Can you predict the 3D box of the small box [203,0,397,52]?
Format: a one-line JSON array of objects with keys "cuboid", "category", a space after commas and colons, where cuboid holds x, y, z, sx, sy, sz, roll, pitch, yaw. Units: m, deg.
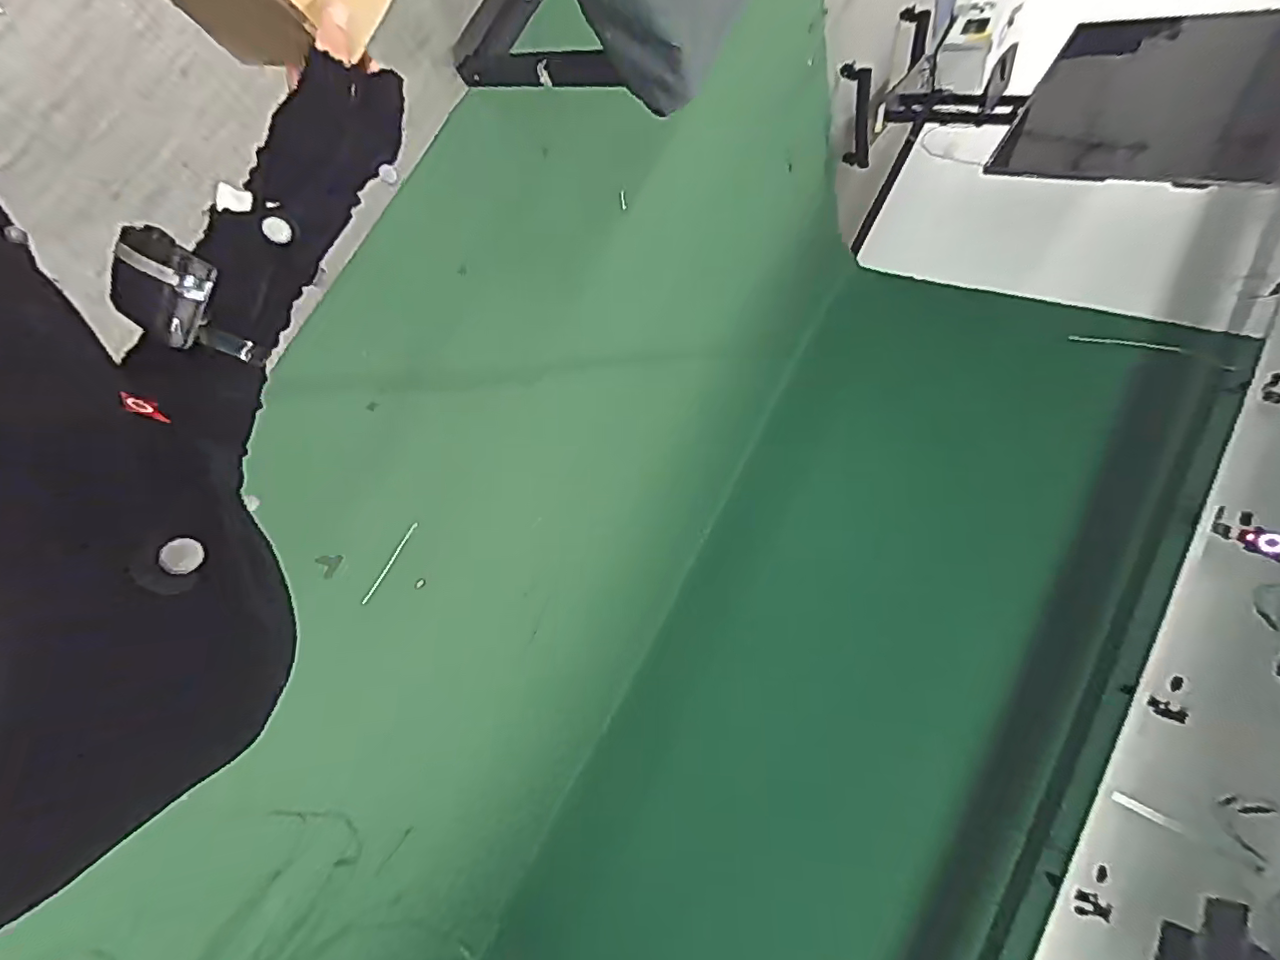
[{"cuboid": [-0.240, -0.406, 0.328, 0.179, 0.176, 0.168, -64, 151, -2], "category": "small box"}]
